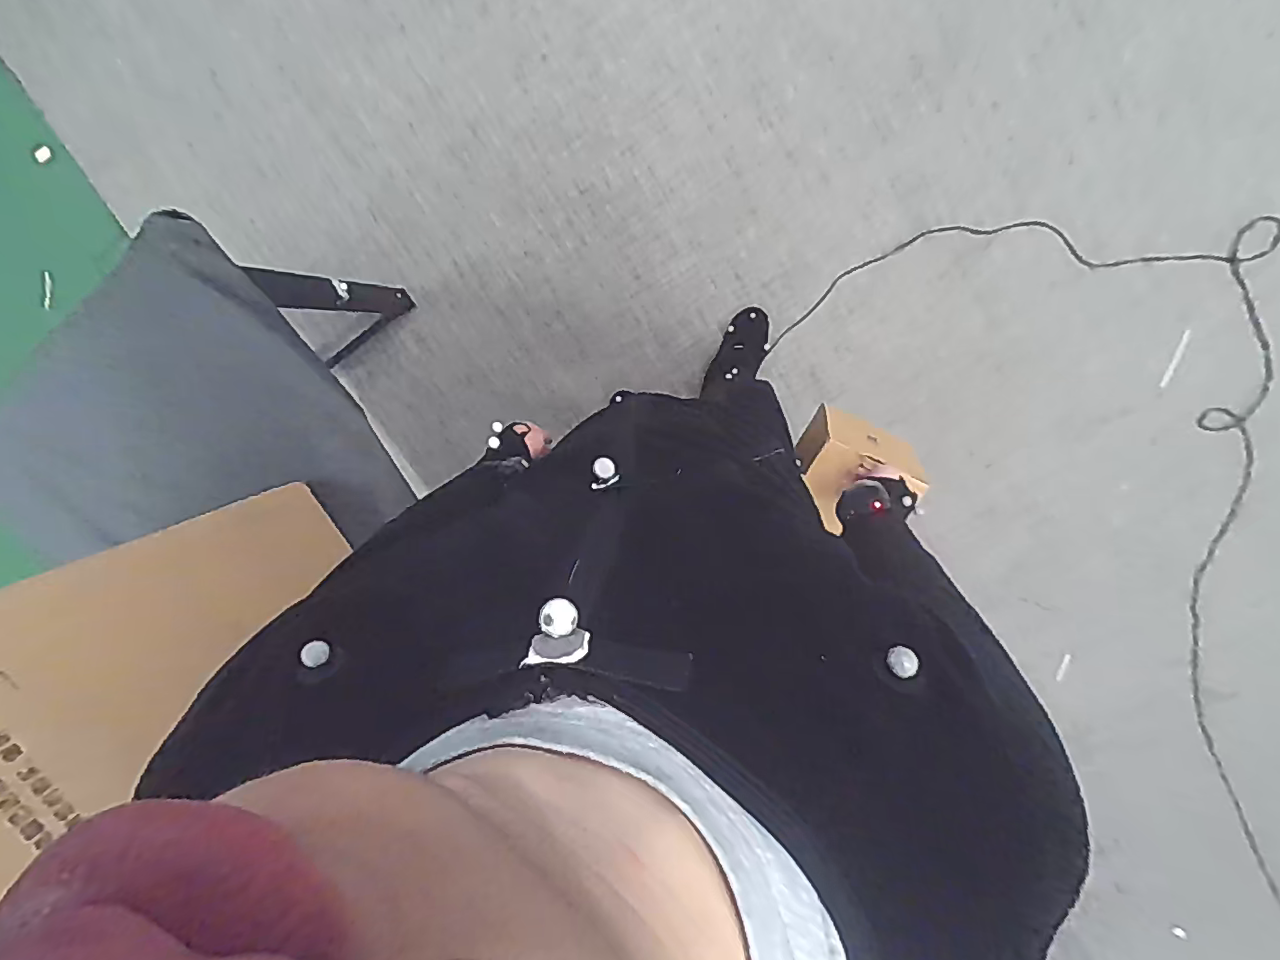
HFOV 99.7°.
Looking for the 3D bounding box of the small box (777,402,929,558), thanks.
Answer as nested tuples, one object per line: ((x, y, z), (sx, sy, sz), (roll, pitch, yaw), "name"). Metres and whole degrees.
((0.340, -0.001, 0.900), (0.168, 0.179, 0.176), (26, 119, 2), "small box")
